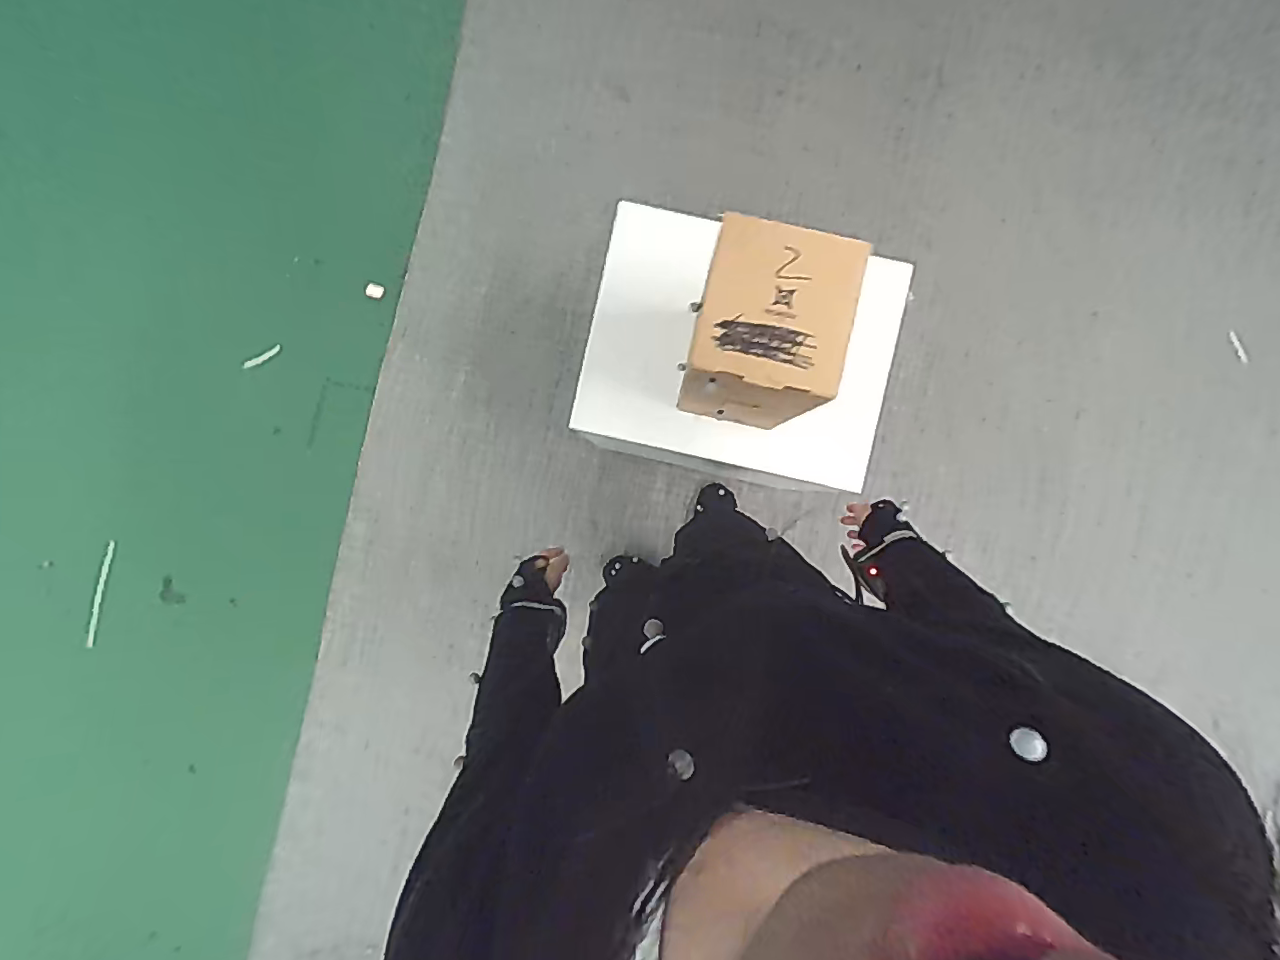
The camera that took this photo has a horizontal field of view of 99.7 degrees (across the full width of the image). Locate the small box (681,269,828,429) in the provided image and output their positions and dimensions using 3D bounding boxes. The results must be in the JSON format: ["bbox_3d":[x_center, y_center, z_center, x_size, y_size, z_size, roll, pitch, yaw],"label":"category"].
[{"bbox_3d":[0.160,-0.185,0.814,0.168,0.176,0.179,13,89,1],"label":"small box"}]
